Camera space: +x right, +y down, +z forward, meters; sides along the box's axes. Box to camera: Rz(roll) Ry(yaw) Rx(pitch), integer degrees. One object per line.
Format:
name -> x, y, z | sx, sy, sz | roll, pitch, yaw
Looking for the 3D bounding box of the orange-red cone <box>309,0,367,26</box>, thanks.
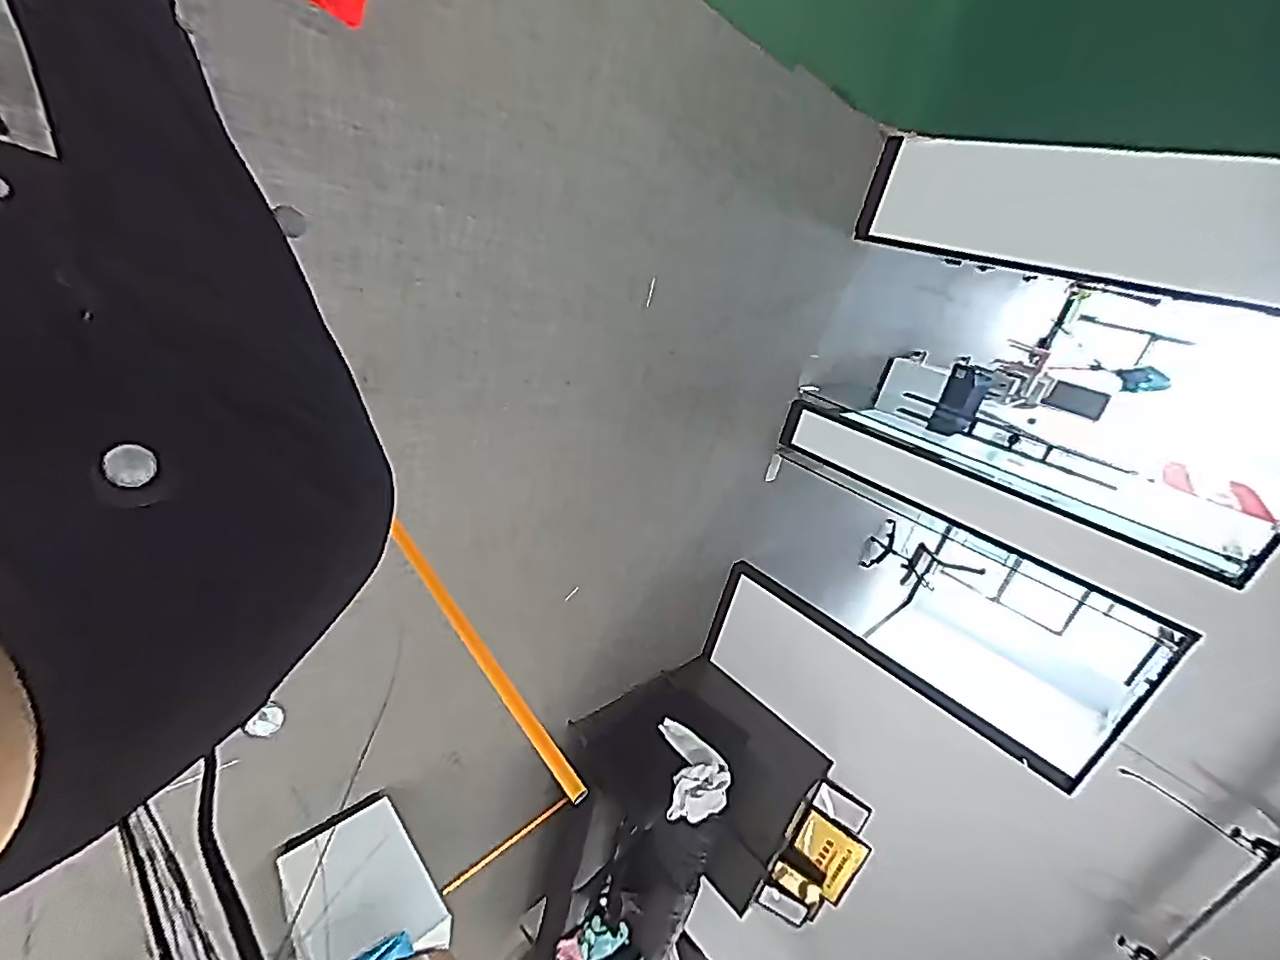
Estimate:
orange-red cone -> -0.507, -0.965, 0.947 | 0.198, 0.360, 0.199 | 5, 113, -50
